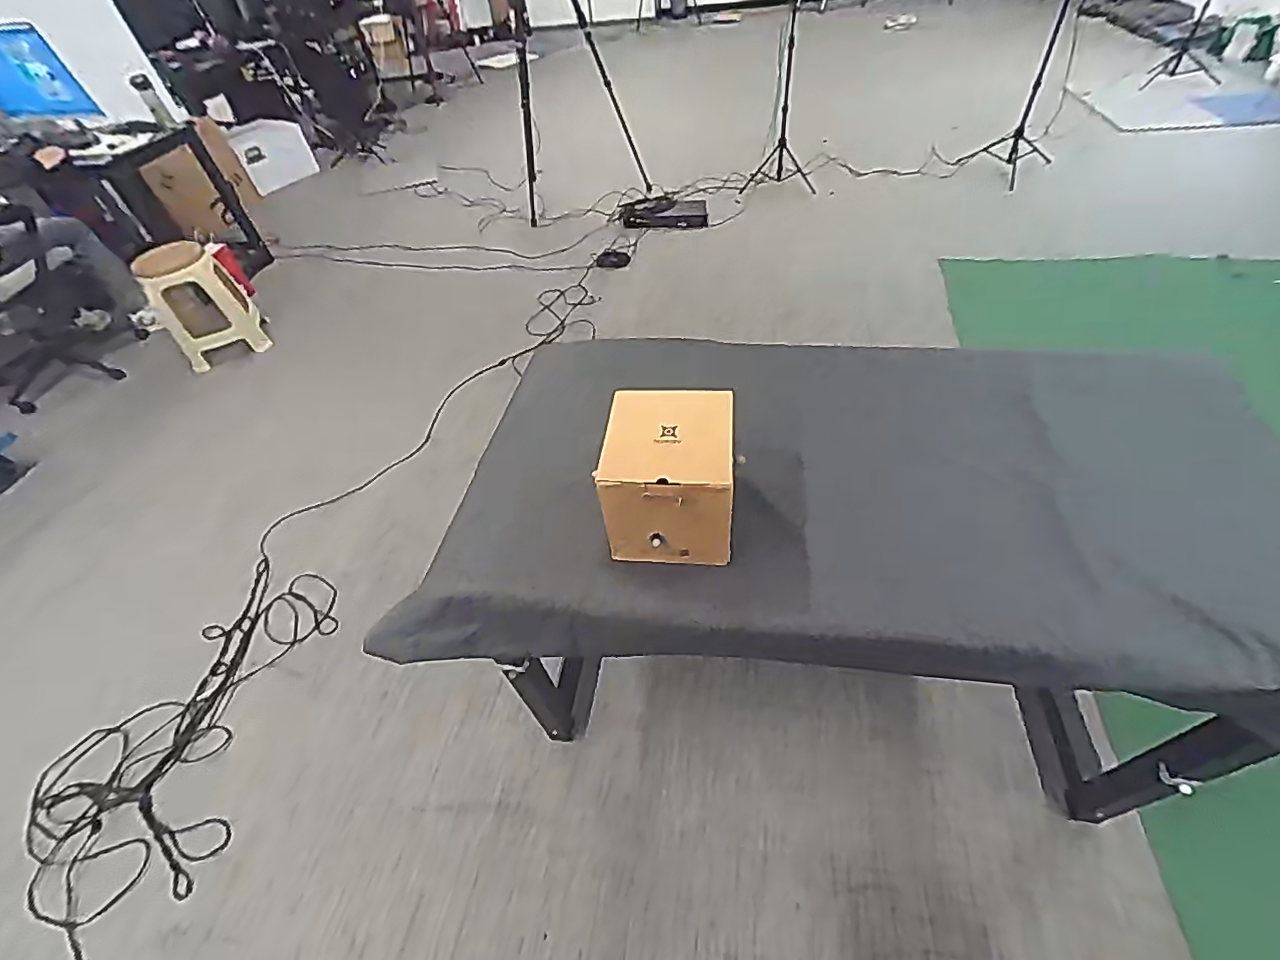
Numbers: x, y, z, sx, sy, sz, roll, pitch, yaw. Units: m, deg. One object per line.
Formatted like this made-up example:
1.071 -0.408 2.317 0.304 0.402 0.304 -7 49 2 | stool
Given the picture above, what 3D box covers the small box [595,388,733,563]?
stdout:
0.041 -0.007 0.749 0.168 0.176 0.179 1 49 8 | small box
